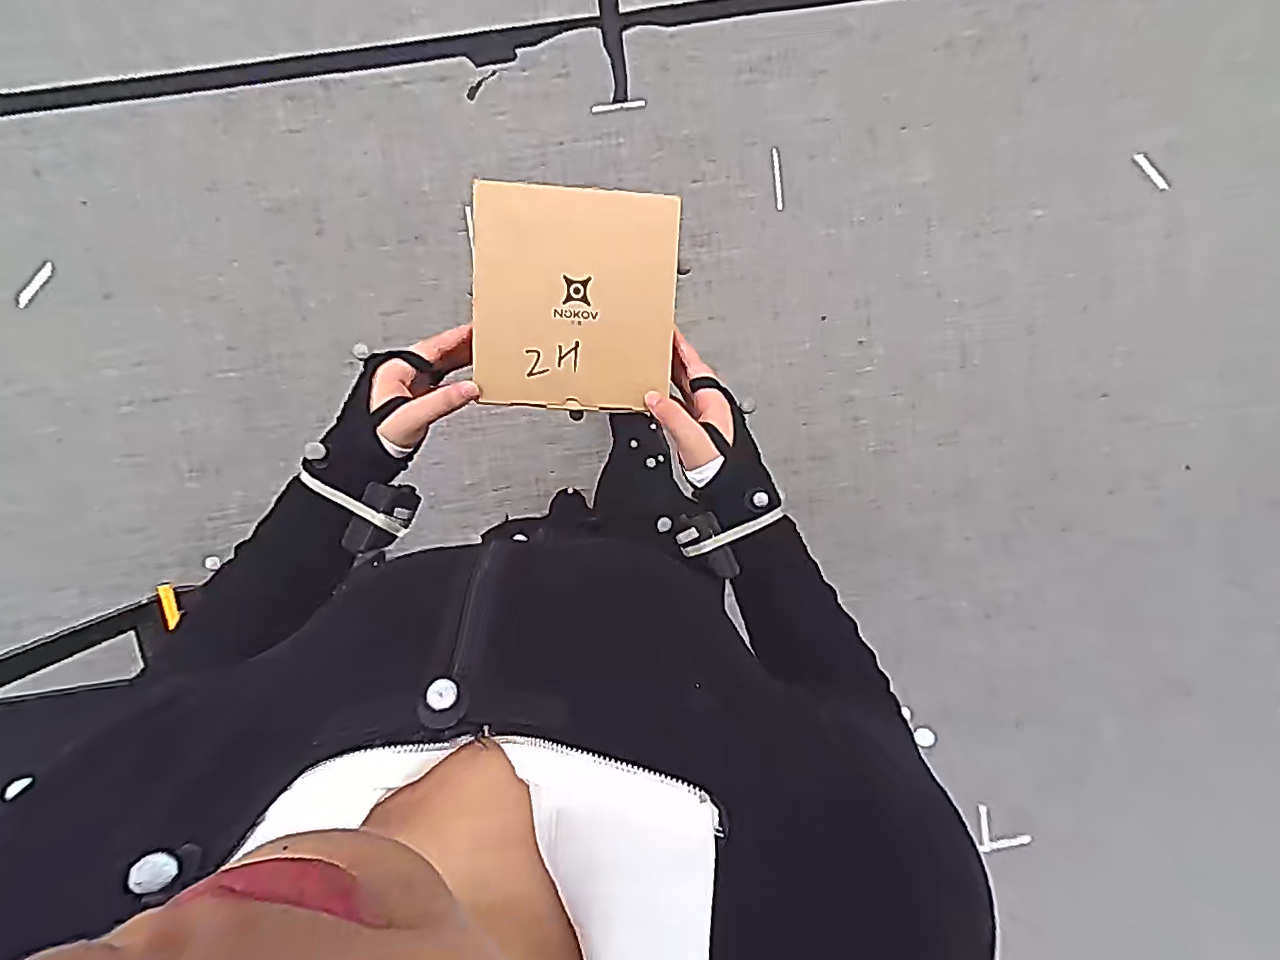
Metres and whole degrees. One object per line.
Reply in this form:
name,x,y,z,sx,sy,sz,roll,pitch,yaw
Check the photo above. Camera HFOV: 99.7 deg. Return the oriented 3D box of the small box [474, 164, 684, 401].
small box,-0.057,-0.169,0.519,0.168,0.176,0.179,3,99,-4
